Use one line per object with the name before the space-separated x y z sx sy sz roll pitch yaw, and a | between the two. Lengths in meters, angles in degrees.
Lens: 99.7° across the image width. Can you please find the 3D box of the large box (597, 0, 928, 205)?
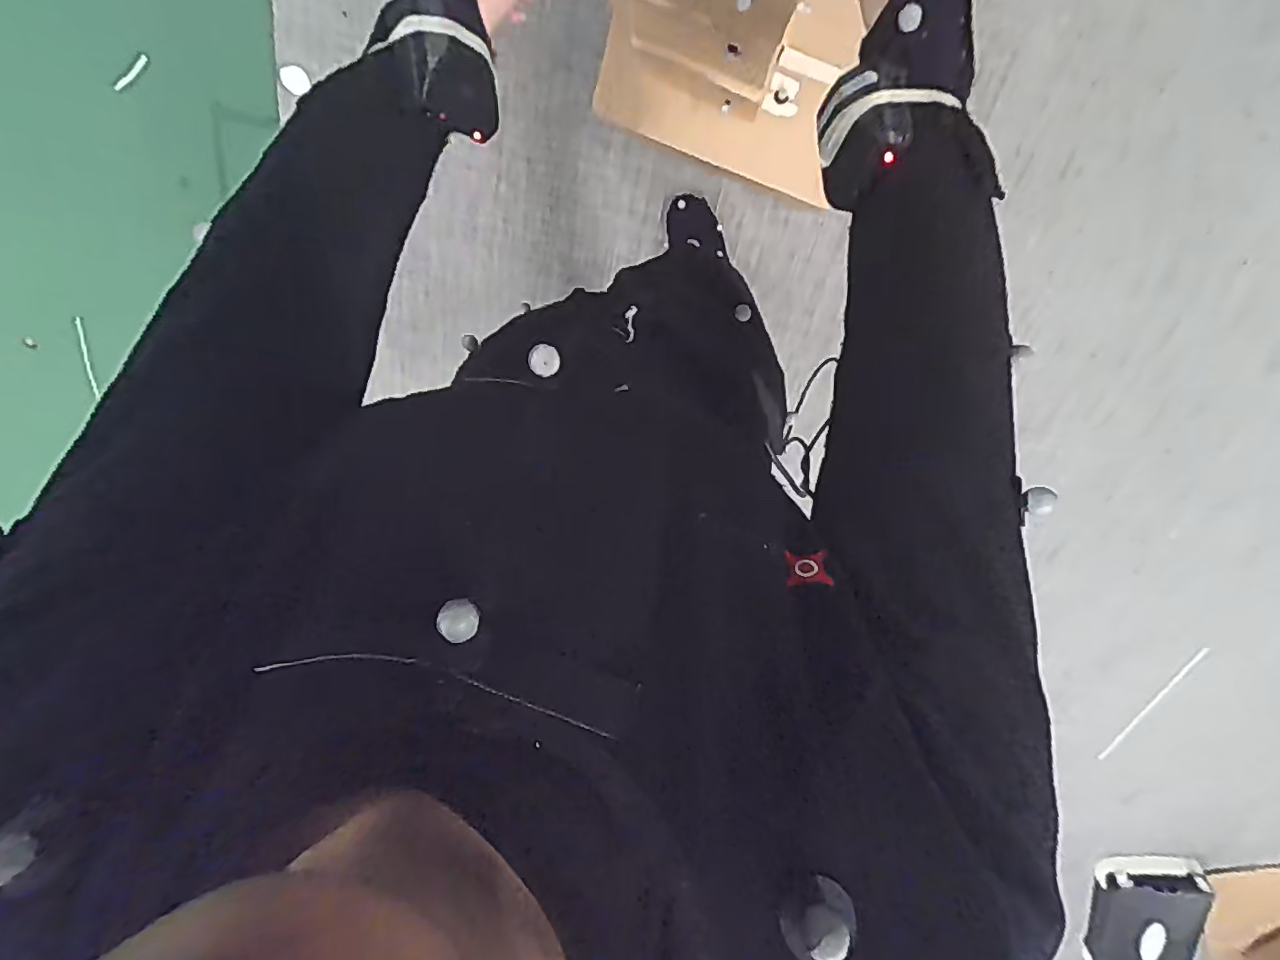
large box | 0.180 -0.687 0.897 0.408 0.320 0.320 20 119 -3

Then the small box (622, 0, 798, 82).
small box | 0.083 -0.529 0.535 0.179 0.176 0.168 21 117 -3

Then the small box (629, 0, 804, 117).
small box | 0.106 -0.587 0.685 0.179 0.176 0.168 22 117 -1
